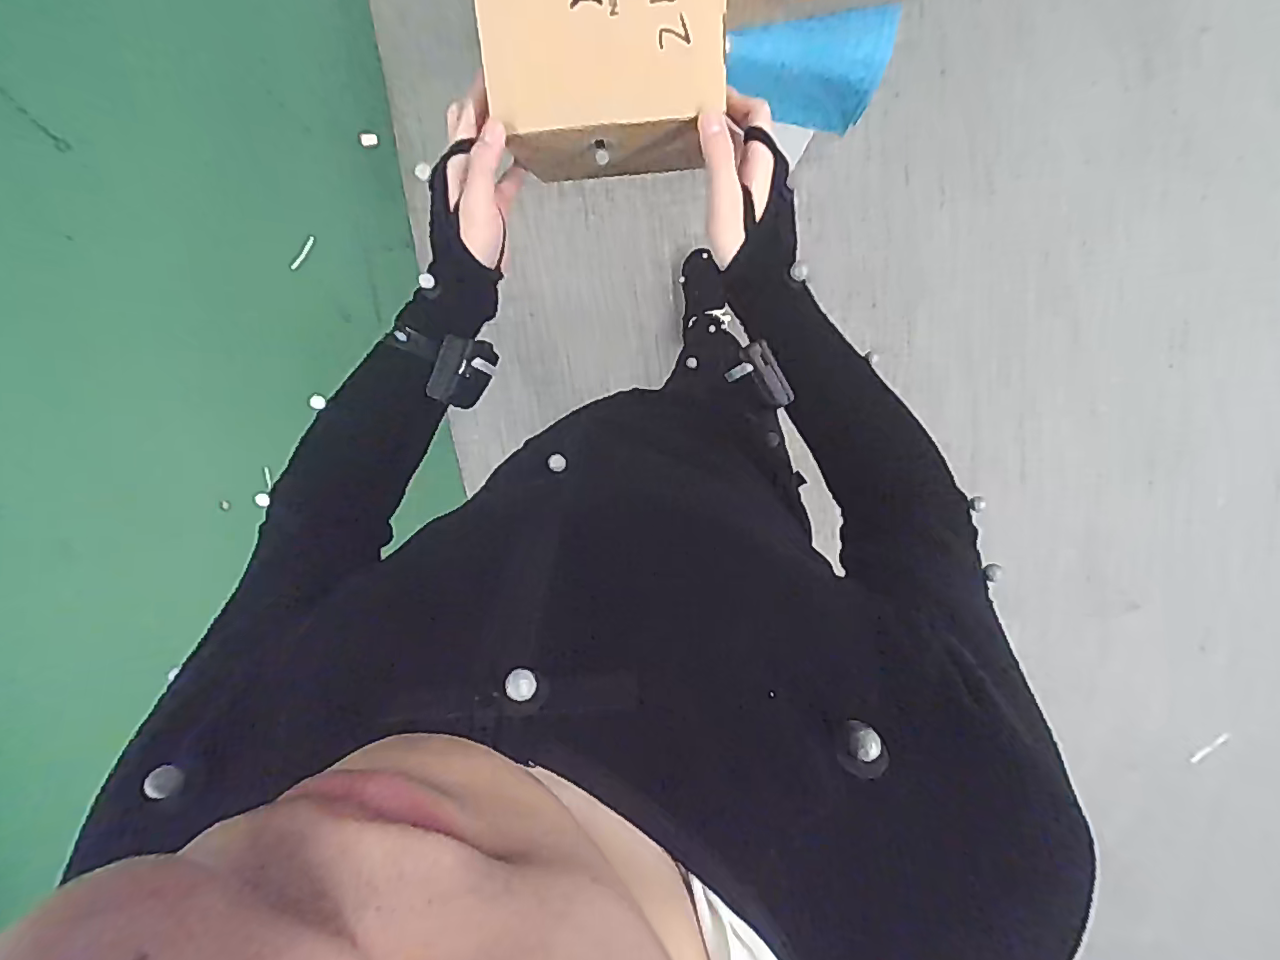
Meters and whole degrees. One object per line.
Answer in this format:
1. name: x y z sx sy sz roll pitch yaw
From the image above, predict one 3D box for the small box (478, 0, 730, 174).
1. small box: -0.022 -0.364 0.442 0.179 0.176 0.168 -3 109 4
